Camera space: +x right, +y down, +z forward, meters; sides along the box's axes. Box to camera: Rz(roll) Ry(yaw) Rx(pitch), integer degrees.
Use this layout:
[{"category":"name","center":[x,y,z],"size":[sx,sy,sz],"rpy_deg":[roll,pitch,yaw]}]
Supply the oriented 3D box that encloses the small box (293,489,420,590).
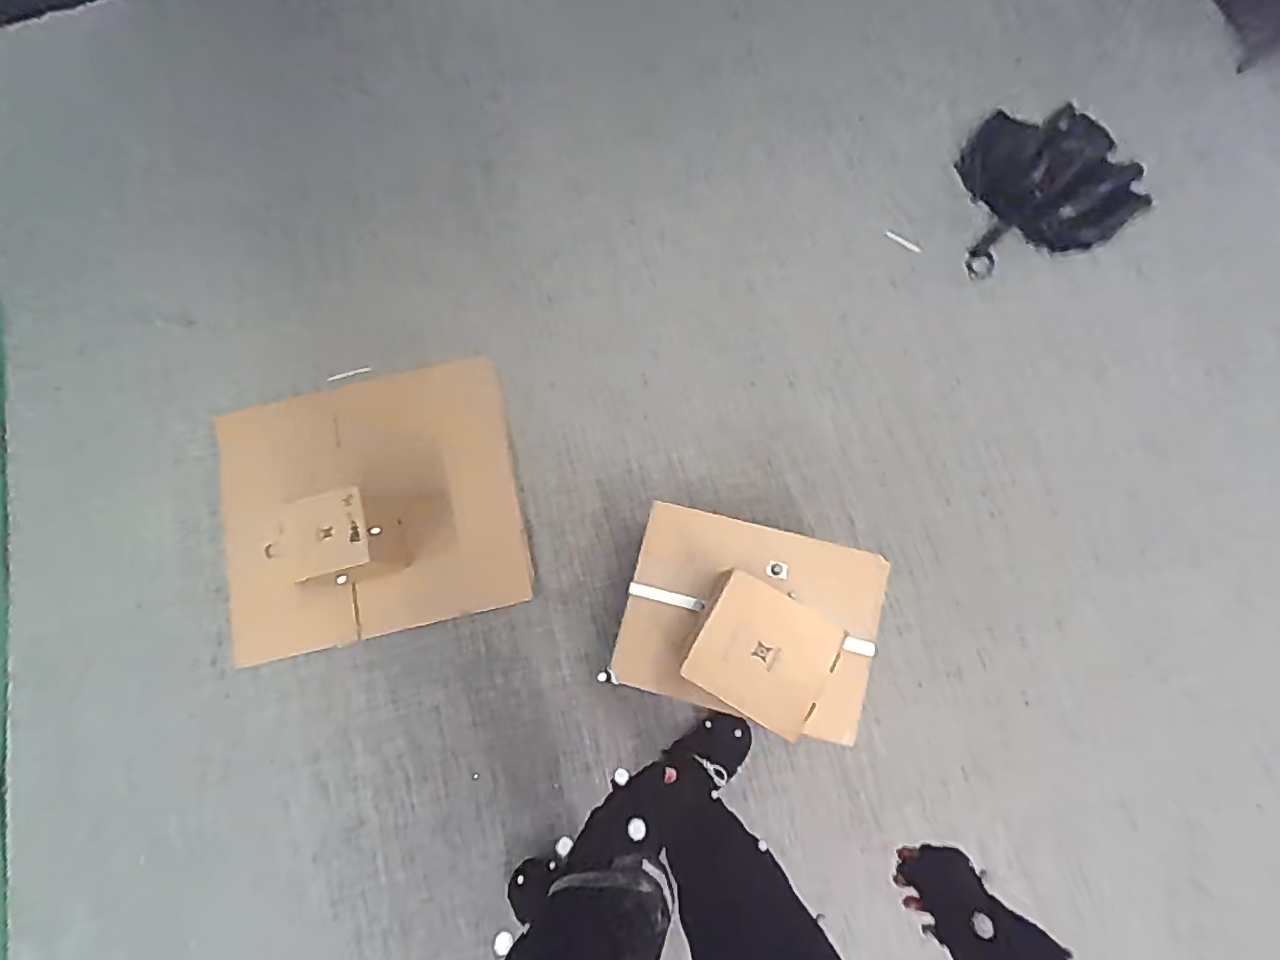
[{"category":"small box","center":[-0.613,0.138,1.182],"size":[0.179,0.176,0.168],"rpy_deg":[-18,75,1]}]

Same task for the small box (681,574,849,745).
[{"category":"small box","center":[0.175,0.255,0.807],"size":[0.179,0.176,0.168],"rpy_deg":[28,81,10]}]
